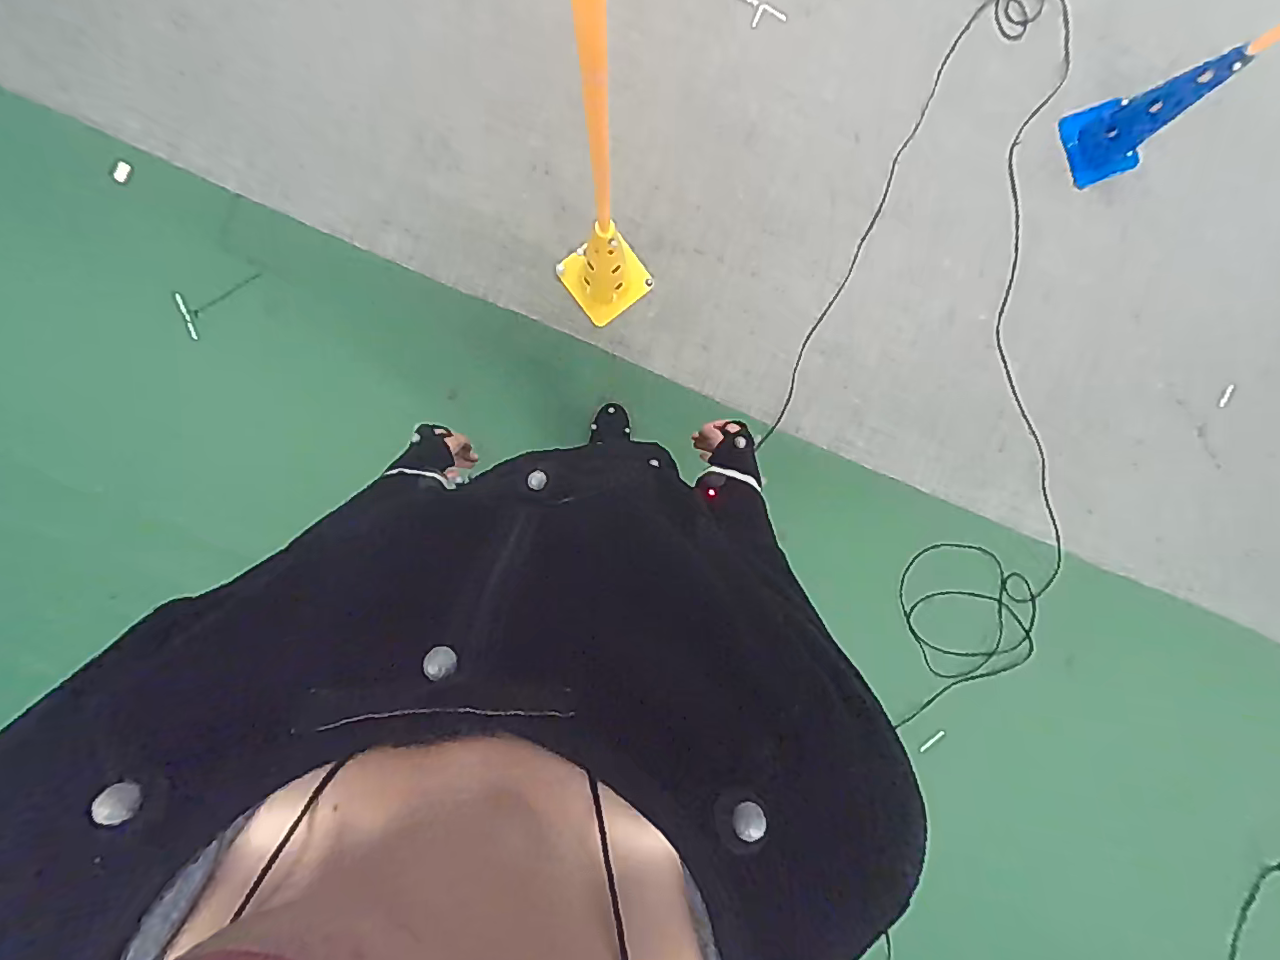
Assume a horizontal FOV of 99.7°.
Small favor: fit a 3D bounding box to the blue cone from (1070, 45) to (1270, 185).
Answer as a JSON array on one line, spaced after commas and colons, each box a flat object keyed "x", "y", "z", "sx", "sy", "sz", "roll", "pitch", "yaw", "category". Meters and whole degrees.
[{"x": 1.306, "y": -0.928, "z": 1.334, "sx": 0.193, "sy": 0.380, "sz": 0.192, "roll": -23, "pitch": 95, "yaw": -4, "category": "blue cone"}]
